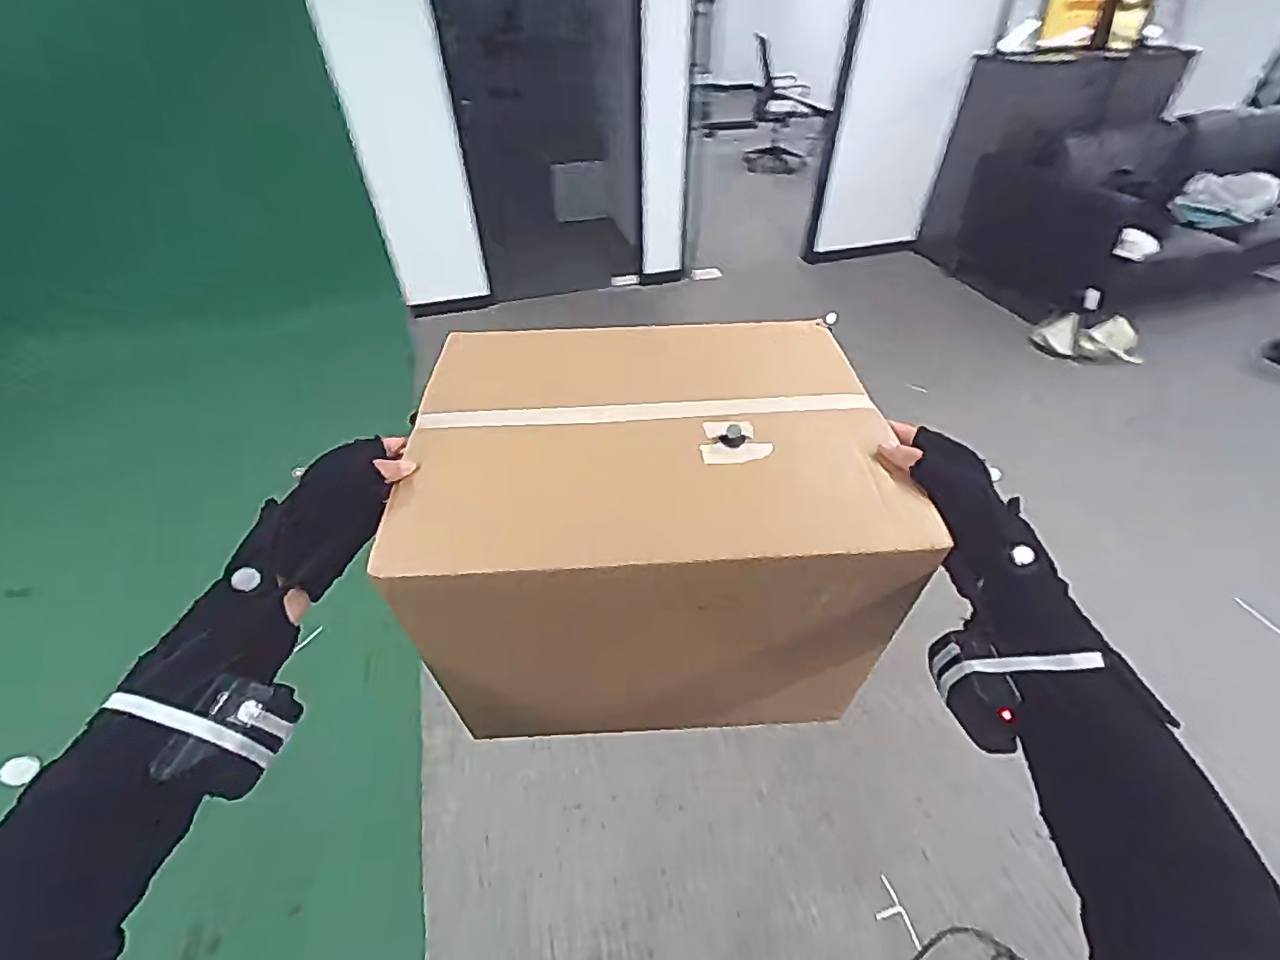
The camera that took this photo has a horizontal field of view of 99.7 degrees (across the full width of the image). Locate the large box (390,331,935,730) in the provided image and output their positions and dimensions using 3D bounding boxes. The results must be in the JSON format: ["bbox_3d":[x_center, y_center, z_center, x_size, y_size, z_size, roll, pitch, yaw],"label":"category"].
[{"bbox_3d":[0.011,0.054,0.594,0.408,0.320,0.320,-2,46,-2],"label":"large box"}]
